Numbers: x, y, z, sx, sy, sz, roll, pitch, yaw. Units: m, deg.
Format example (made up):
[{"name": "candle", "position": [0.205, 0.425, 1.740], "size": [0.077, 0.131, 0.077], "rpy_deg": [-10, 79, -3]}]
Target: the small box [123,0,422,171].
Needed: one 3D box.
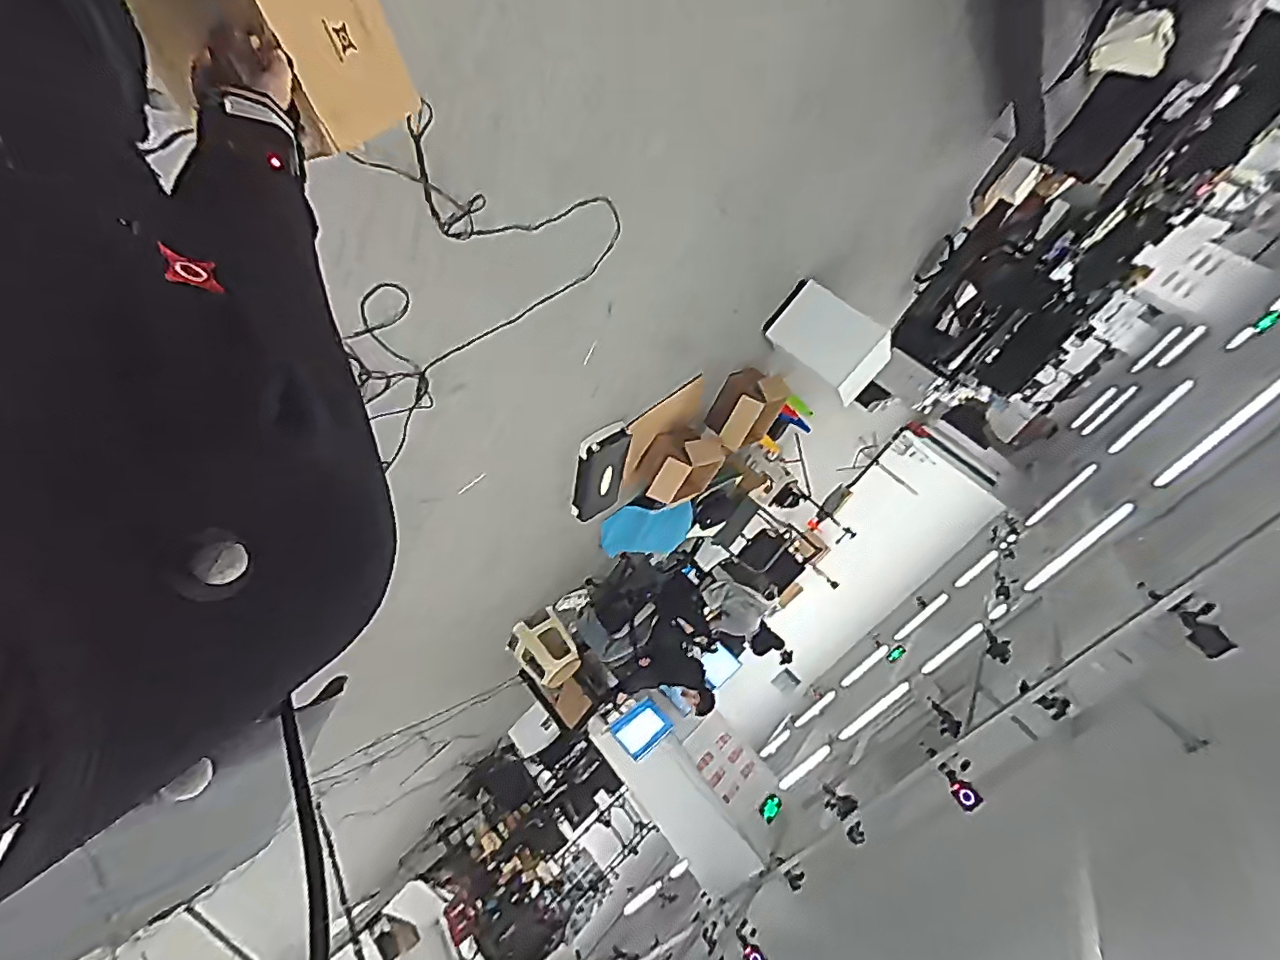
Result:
[{"name": "small box", "position": [-0.378, -0.451, 0.570], "size": [0.168, 0.176, 0.179], "rpy_deg": [72, 26, -46]}]
